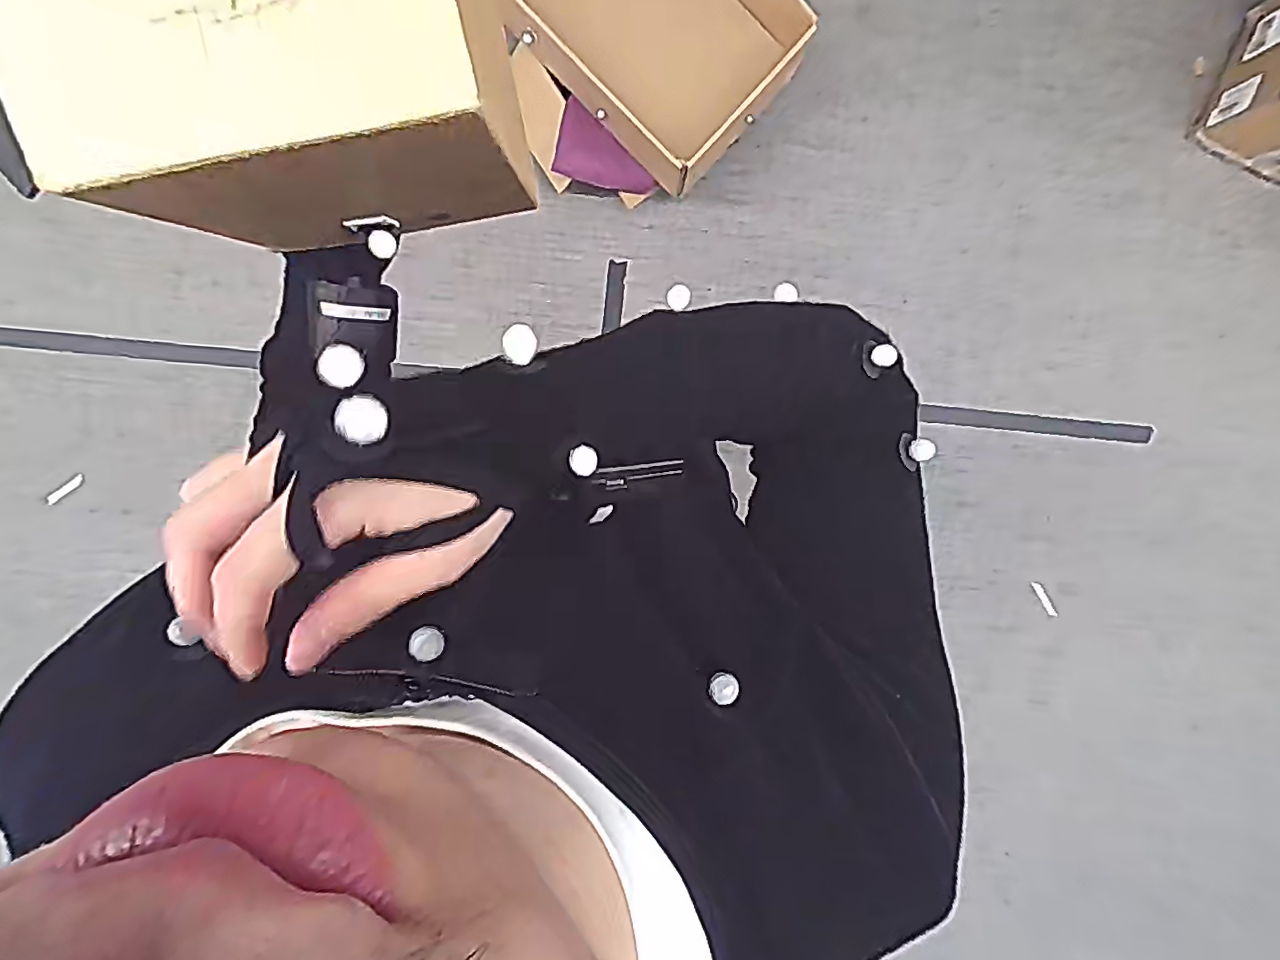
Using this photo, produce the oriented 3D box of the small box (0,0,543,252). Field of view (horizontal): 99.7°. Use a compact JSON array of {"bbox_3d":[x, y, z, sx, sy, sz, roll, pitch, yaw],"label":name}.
[{"bbox_3d":[-0.152,-0.226,0.262,0.168,0.176,0.179,-11,106,0],"label":"small box"}]
